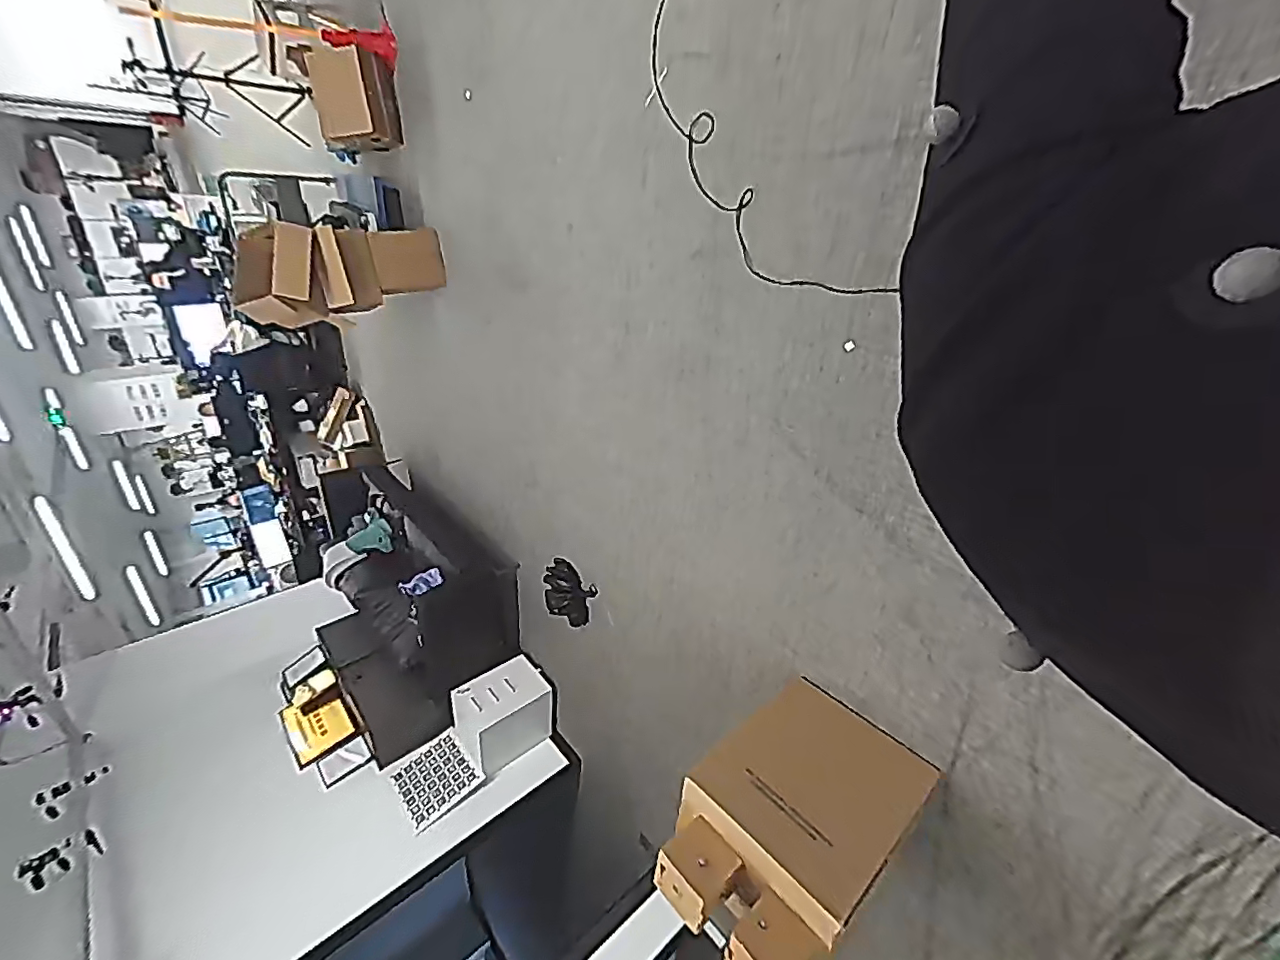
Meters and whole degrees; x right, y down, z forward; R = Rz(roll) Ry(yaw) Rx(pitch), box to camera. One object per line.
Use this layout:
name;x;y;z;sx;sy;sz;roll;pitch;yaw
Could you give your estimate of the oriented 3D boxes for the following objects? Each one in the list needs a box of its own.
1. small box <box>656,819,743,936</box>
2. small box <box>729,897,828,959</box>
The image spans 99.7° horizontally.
small box;0.172;1.135;1.558;0.179;0.176;0.168;29;123;39
small box;0.350;1.228;1.390;0.179;0.176;0.168;26;122;40
